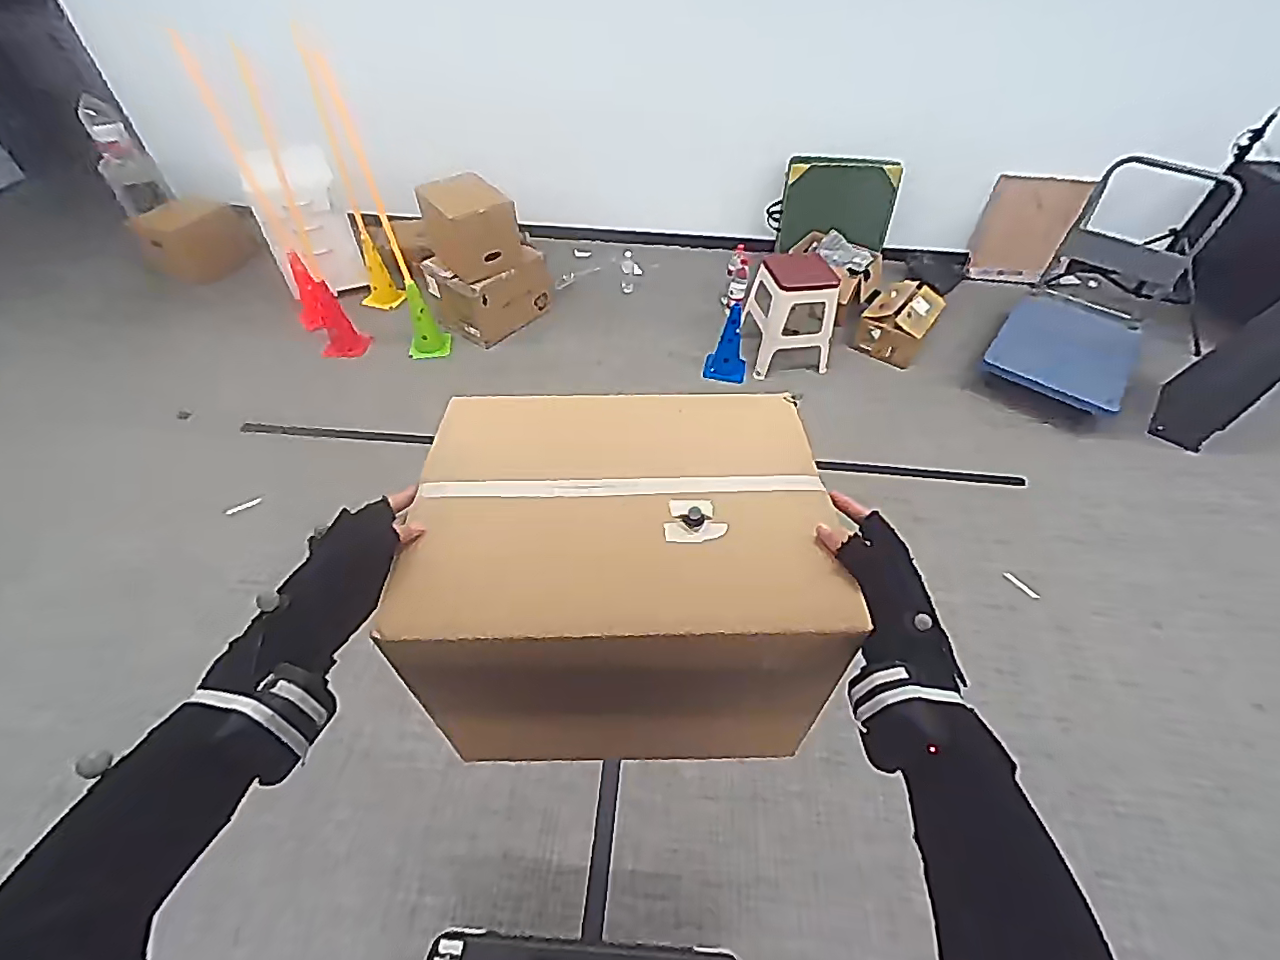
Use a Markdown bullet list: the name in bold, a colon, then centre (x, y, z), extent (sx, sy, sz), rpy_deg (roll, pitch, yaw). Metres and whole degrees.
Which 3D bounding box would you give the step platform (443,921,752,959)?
- **step platform**: centre (-0.091, 1.119, 1.116), extent (0.684, 0.204, 0.286), rpy_deg (5, 49, 0)

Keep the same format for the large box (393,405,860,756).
- **large box**: centre (-0.016, 0.121, 0.661), extent (0.408, 0.320, 0.320), rpy_deg (0, 47, -1)
